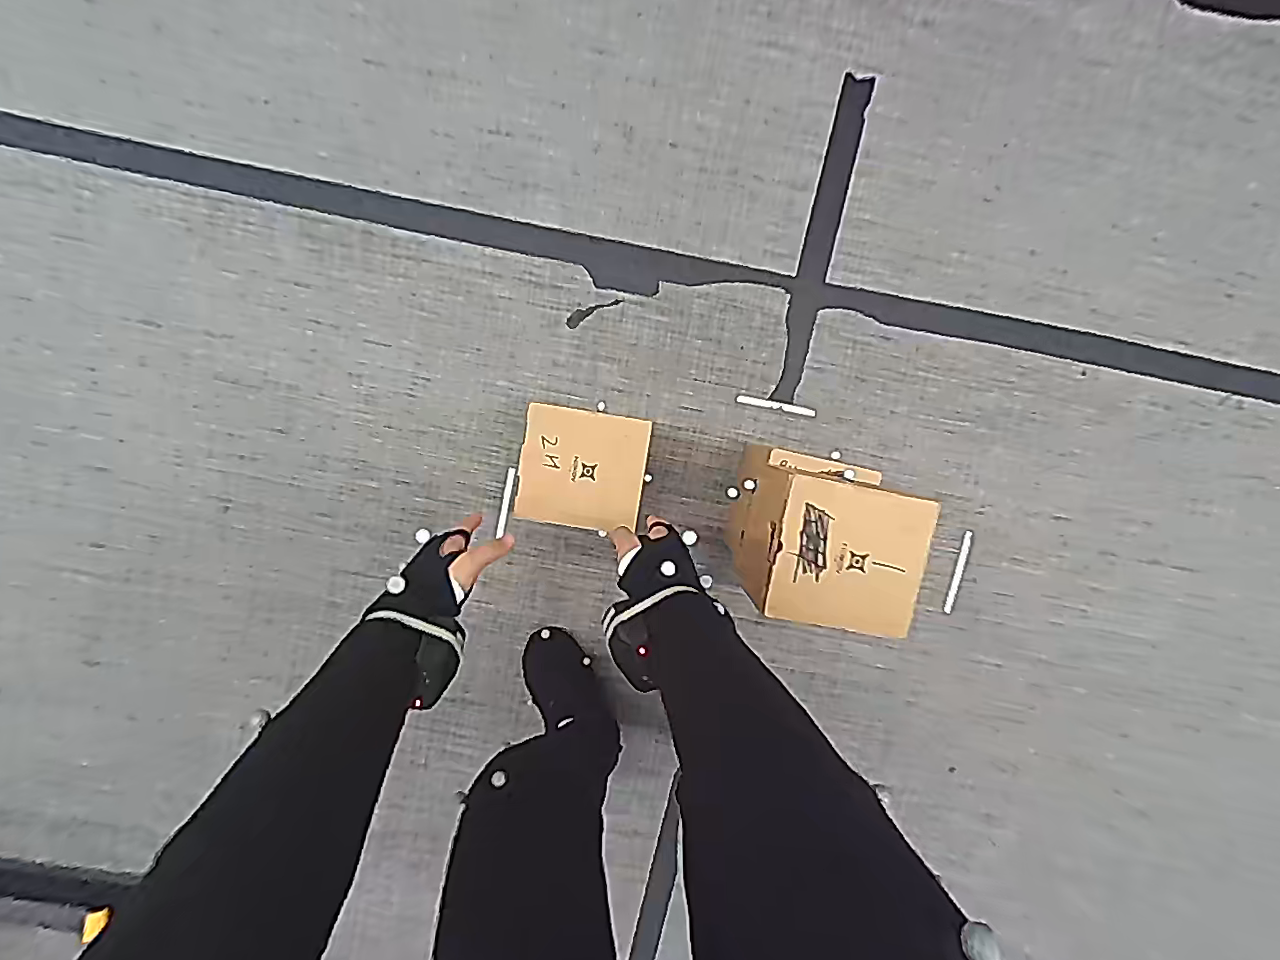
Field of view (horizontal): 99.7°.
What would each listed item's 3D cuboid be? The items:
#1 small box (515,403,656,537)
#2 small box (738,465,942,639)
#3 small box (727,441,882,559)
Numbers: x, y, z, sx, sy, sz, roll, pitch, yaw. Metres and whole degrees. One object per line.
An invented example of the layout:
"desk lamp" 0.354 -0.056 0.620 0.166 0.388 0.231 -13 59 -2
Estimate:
"small box" -0.078 -0.022 0.829 0.179 0.176 0.168 9 96 -2
"small box" 0.235 0.078 0.684 0.179 0.176 0.168 10 97 -3
"small box" 0.243 0.044 0.847 0.168 0.176 0.179 13 97 -3
